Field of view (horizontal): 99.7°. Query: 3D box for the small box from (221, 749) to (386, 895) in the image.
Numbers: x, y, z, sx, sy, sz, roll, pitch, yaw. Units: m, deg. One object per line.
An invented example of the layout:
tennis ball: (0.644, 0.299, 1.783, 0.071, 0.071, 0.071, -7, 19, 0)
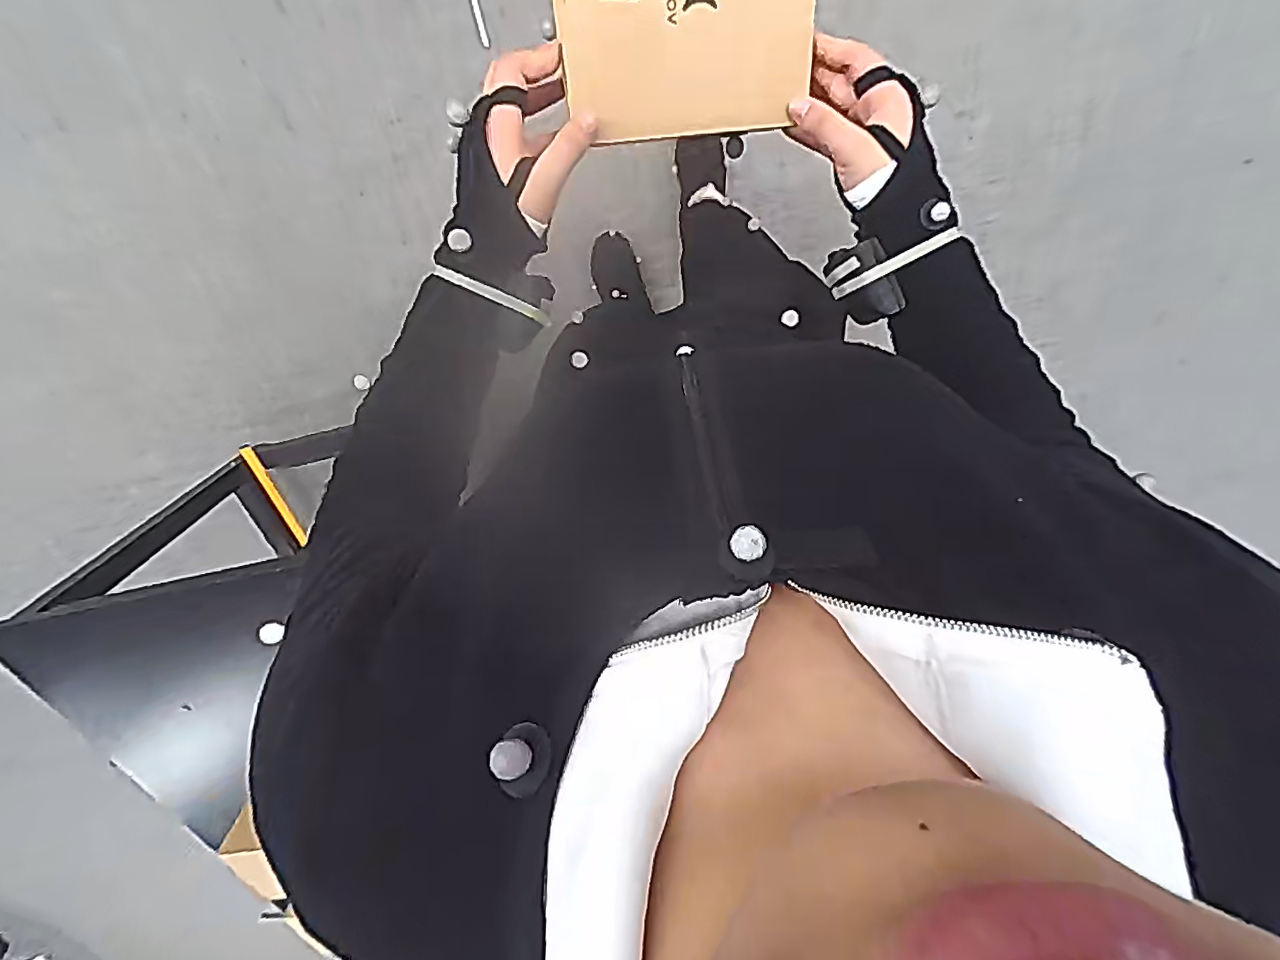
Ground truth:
small box: (-0.619, 0.641, 1.023, 0.179, 0.176, 0.168, -11, 120, 3)

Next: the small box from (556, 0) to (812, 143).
small box: (0.024, -0.369, 0.426, 0.179, 0.176, 0.168, -6, 121, -1)
